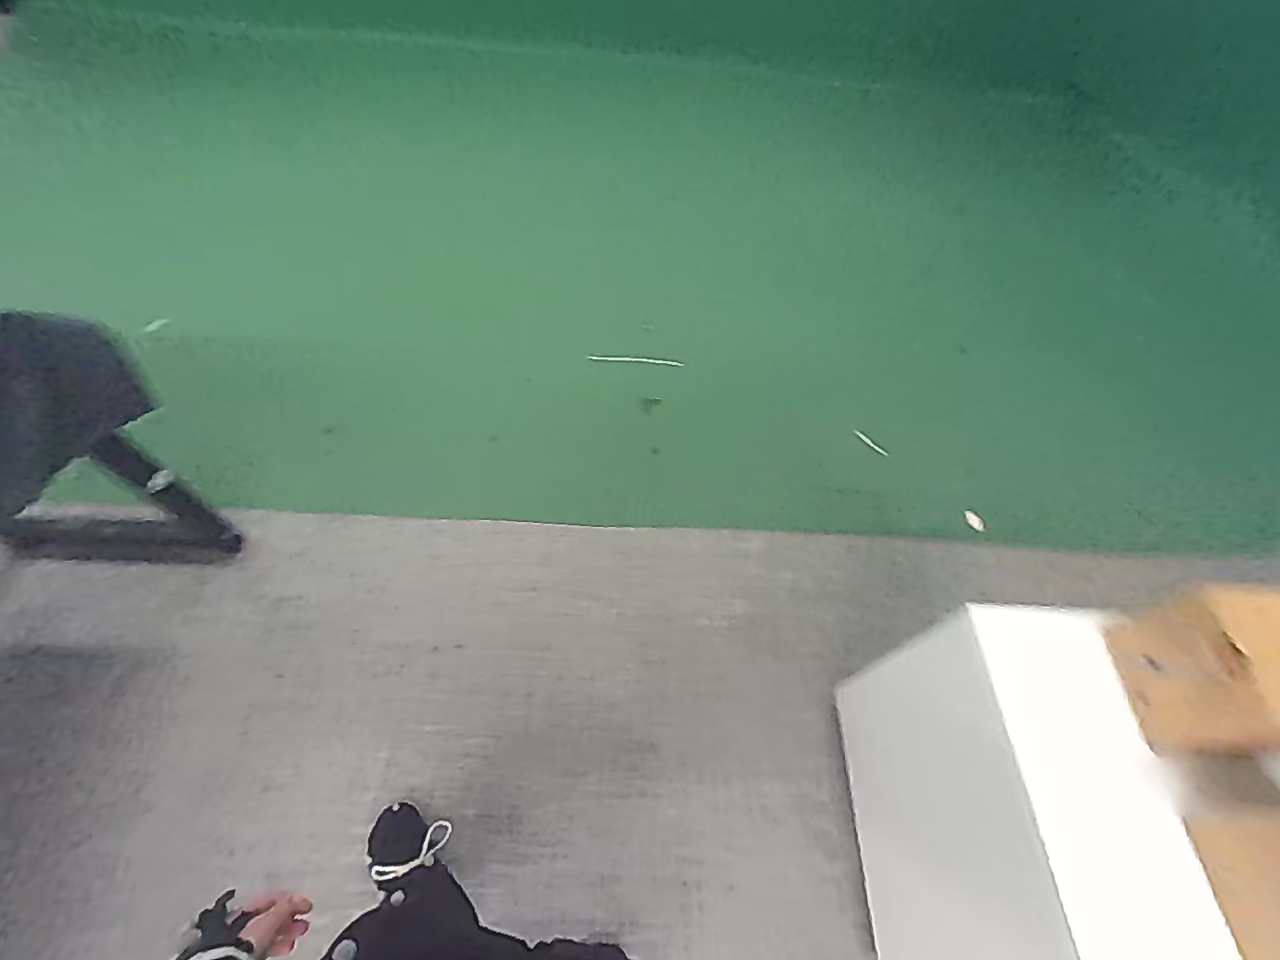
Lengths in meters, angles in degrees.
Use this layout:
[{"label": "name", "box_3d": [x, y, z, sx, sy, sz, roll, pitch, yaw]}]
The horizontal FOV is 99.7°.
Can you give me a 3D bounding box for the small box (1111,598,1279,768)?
[{"label": "small box", "box_3d": [0.769, 0.261, 0.682, 0.179, 0.176, 0.168, 4, 57, -1]}]
